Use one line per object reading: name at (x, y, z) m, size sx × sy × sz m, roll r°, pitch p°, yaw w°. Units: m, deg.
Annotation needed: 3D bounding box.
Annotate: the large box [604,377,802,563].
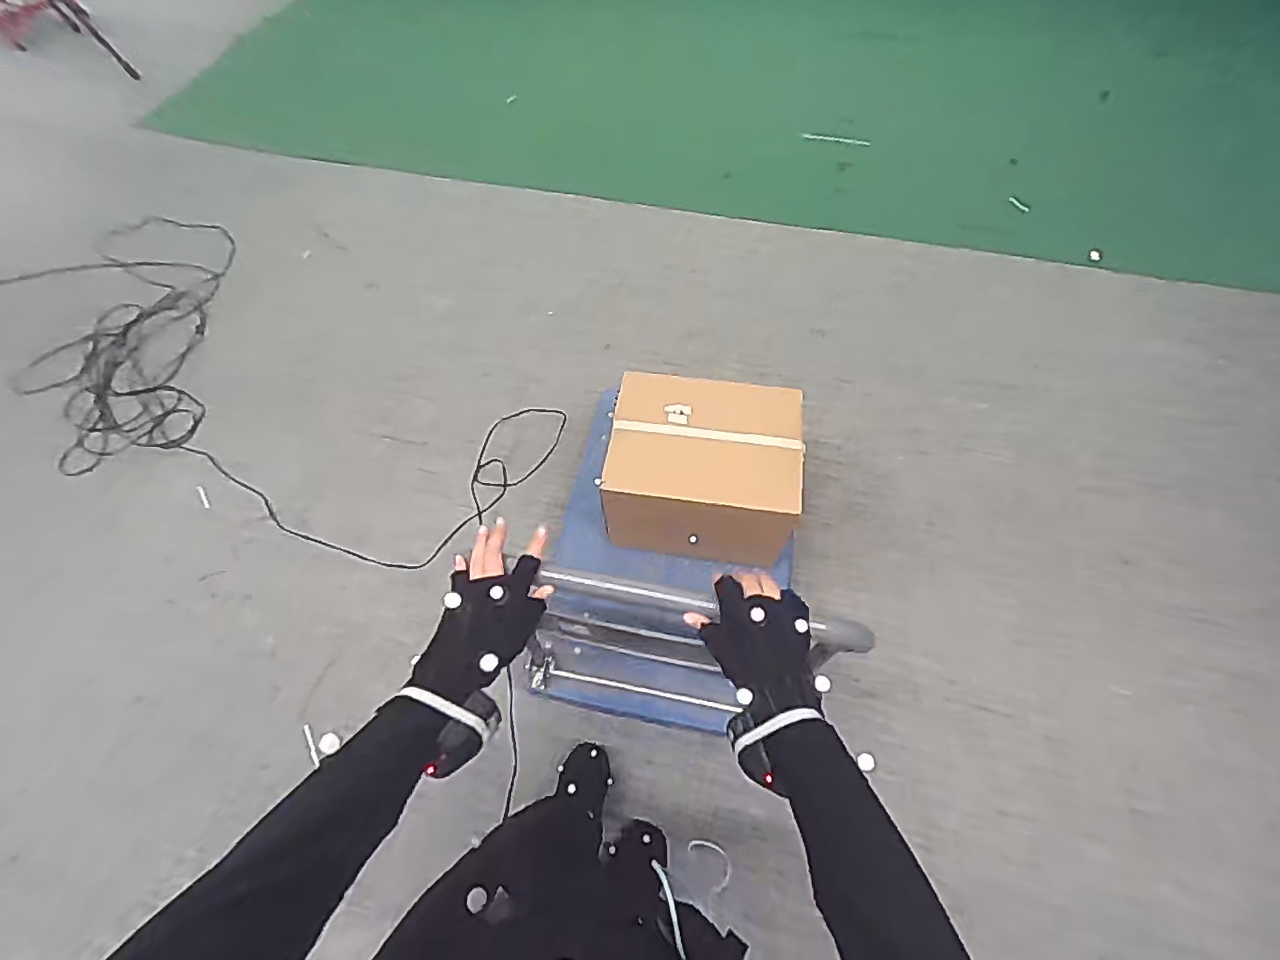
large box at (0.149, -0.014, 1.286) m, size 0.408 × 0.320 × 0.320 m, roll 7°, pitch 60°, yaw 6°
